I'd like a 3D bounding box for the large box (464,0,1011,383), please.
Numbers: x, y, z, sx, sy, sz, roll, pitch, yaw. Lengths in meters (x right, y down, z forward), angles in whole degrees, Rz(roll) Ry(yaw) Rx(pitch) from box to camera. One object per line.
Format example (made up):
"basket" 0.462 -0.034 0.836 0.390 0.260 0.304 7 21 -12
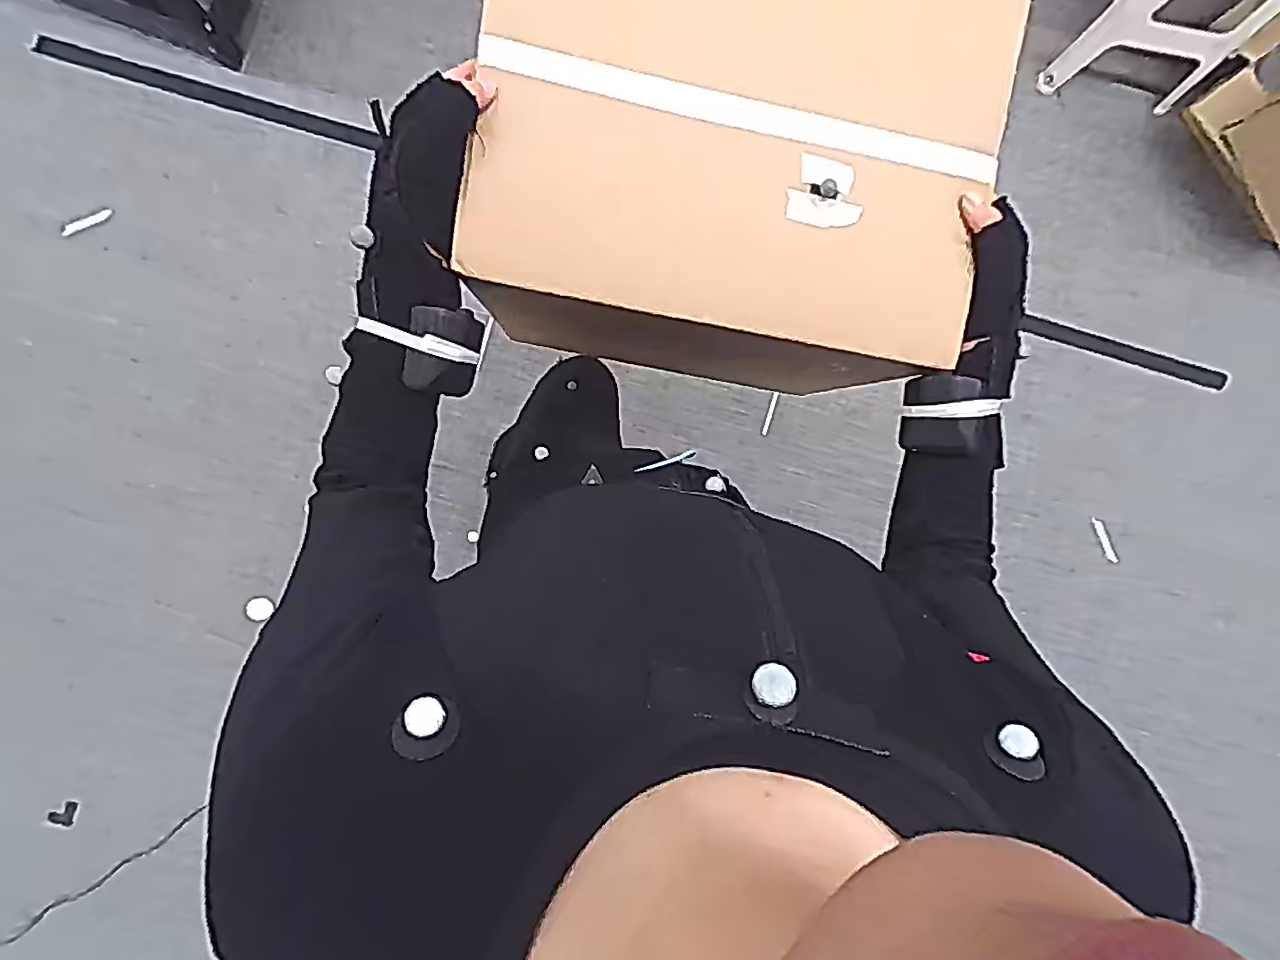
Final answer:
"large box" 0.064 -0.296 0.566 0.408 0.320 0.320 9 95 -7
